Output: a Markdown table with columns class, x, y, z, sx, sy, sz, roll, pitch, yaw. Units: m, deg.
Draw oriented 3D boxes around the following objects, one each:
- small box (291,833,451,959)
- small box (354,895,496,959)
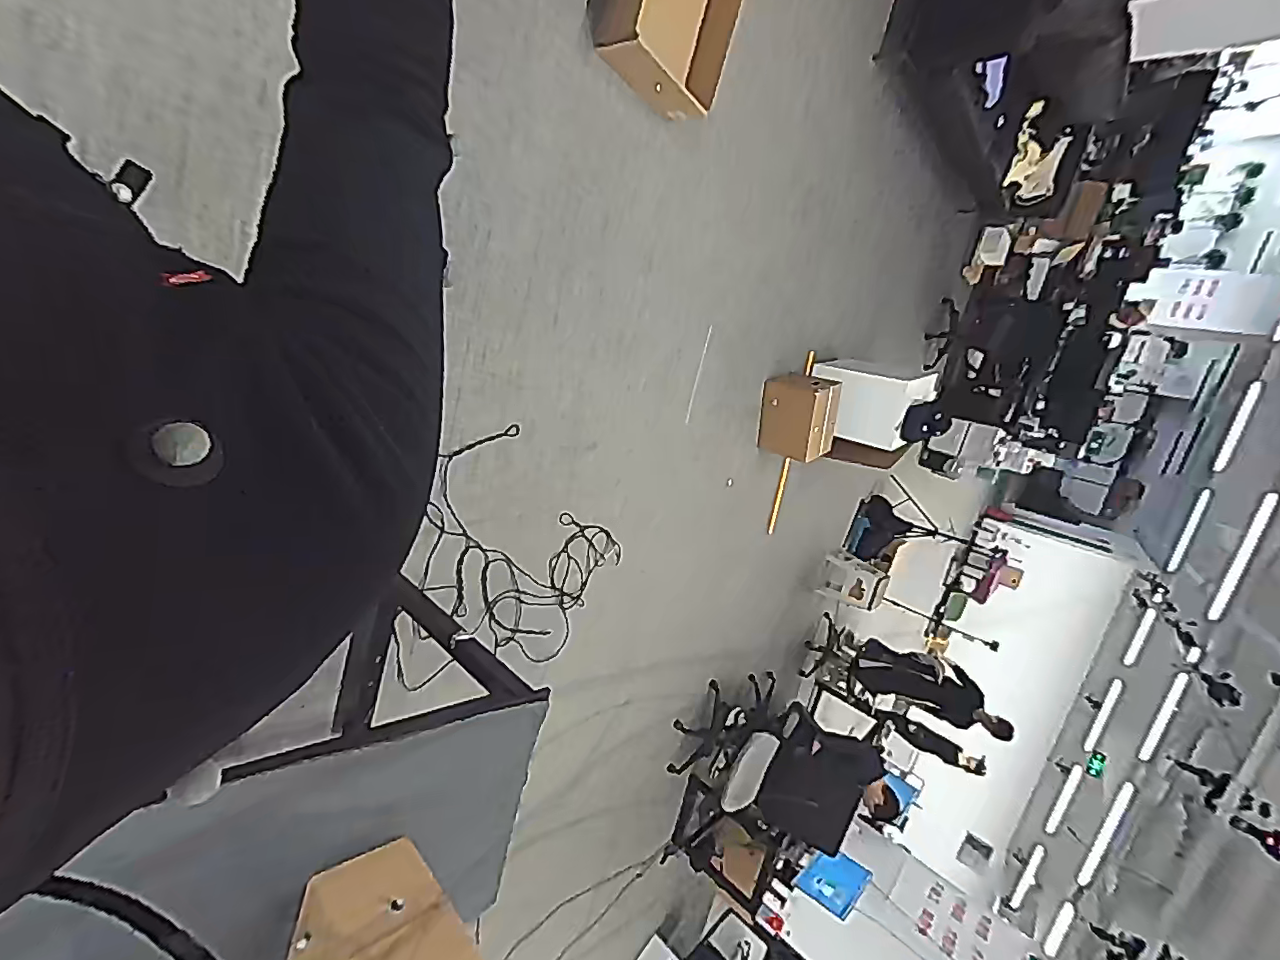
| class | x | y | z | sx | sy | sz | roll | pitch | yaw |
| --- | --- | --- | --- | --- | --- | --- | --- | --- | --- |
| small box | -0.467 | 0.763 | 0.938 | 0.179 | 0.176 | 0.168 | 10 | 100 | -51 |
| small box | -0.347 | 0.807 | 0.833 | 0.179 | 0.176 | 0.168 | 7 | 103 | -52 |
